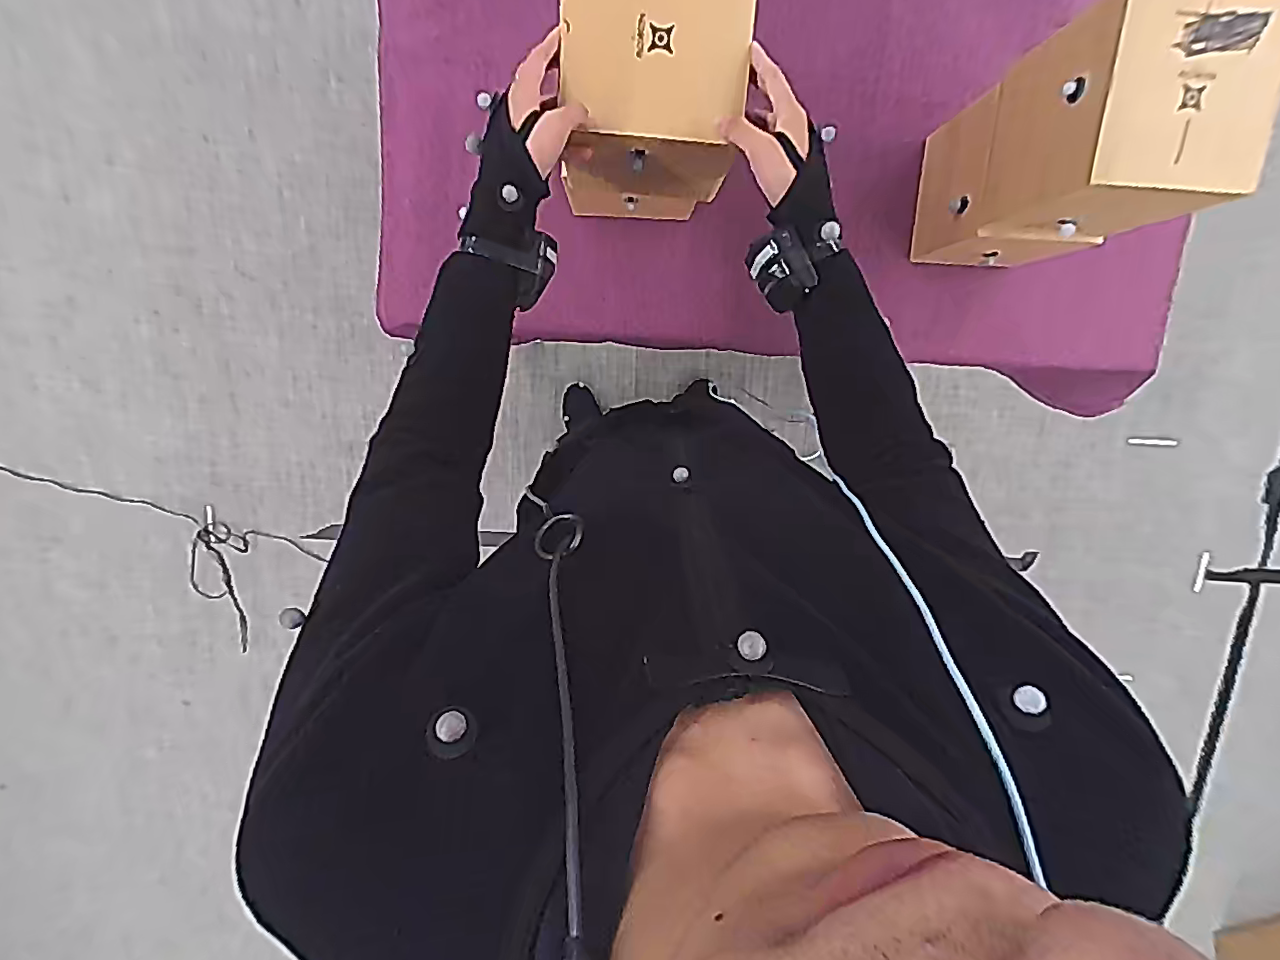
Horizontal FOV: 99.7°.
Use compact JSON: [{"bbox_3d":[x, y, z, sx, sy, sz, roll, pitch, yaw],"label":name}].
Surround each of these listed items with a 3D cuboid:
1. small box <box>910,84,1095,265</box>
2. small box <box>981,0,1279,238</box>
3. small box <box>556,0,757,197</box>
[{"bbox_3d":[0.501,-0.404,0.748,0.168,0.176,0.179,3,102,-3],"label":"small box"},{"bbox_3d":[0.508,-0.379,0.585,0.168,0.176,0.179,3,102,-2],"label":"small box"},{"bbox_3d":[0.013,-0.410,0.563,0.179,0.176,0.168,4,101,-2],"label":"small box"}]
